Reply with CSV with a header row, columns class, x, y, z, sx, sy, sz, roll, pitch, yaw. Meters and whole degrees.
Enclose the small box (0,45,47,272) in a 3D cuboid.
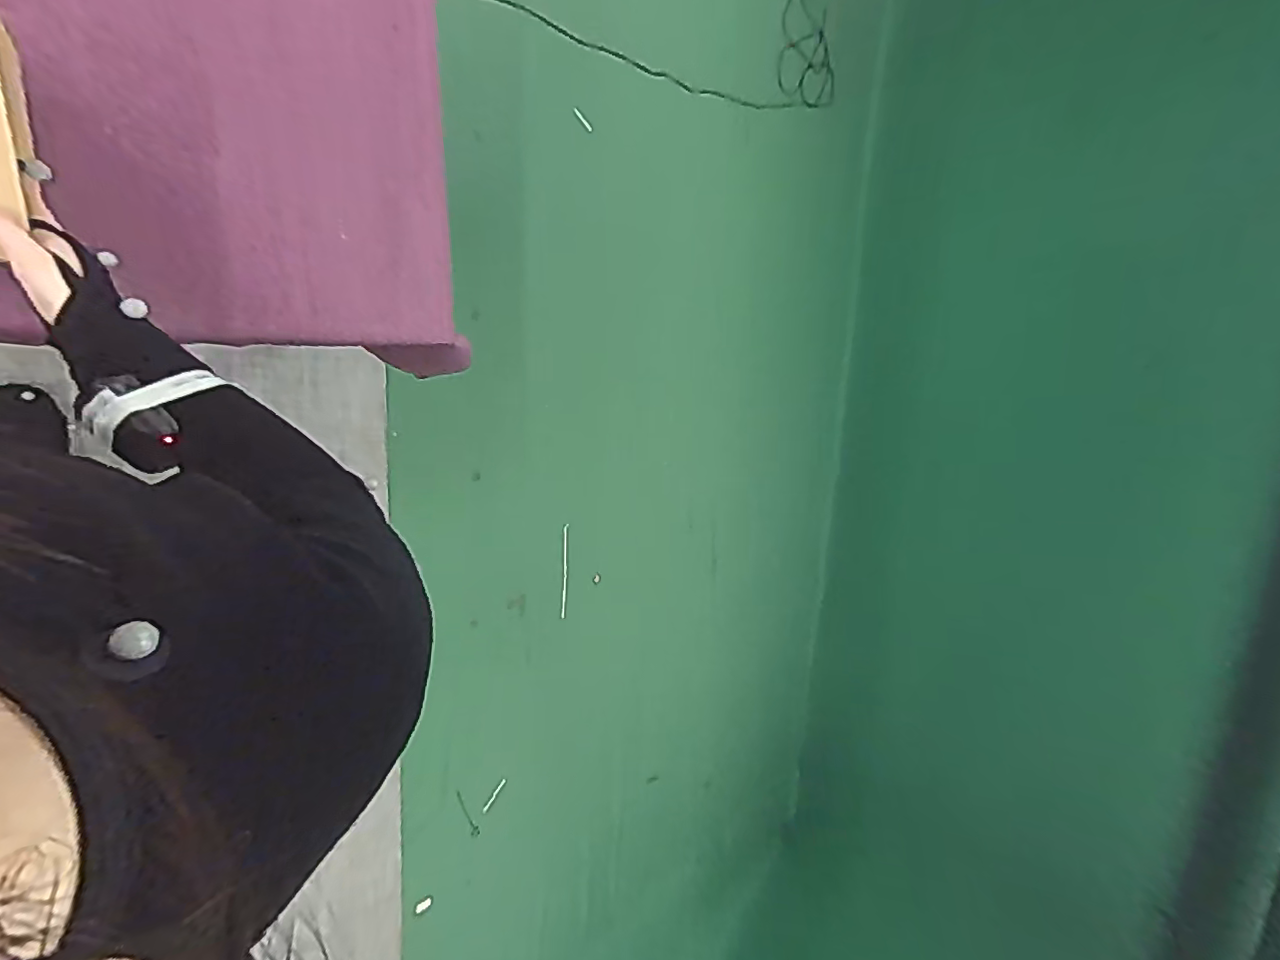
class,x,y,z,sx,sy,sz,roll,pitch,yaw
small box,-0.551,-0.252,0.375,0.168,0.176,0.179,-9,114,-43
